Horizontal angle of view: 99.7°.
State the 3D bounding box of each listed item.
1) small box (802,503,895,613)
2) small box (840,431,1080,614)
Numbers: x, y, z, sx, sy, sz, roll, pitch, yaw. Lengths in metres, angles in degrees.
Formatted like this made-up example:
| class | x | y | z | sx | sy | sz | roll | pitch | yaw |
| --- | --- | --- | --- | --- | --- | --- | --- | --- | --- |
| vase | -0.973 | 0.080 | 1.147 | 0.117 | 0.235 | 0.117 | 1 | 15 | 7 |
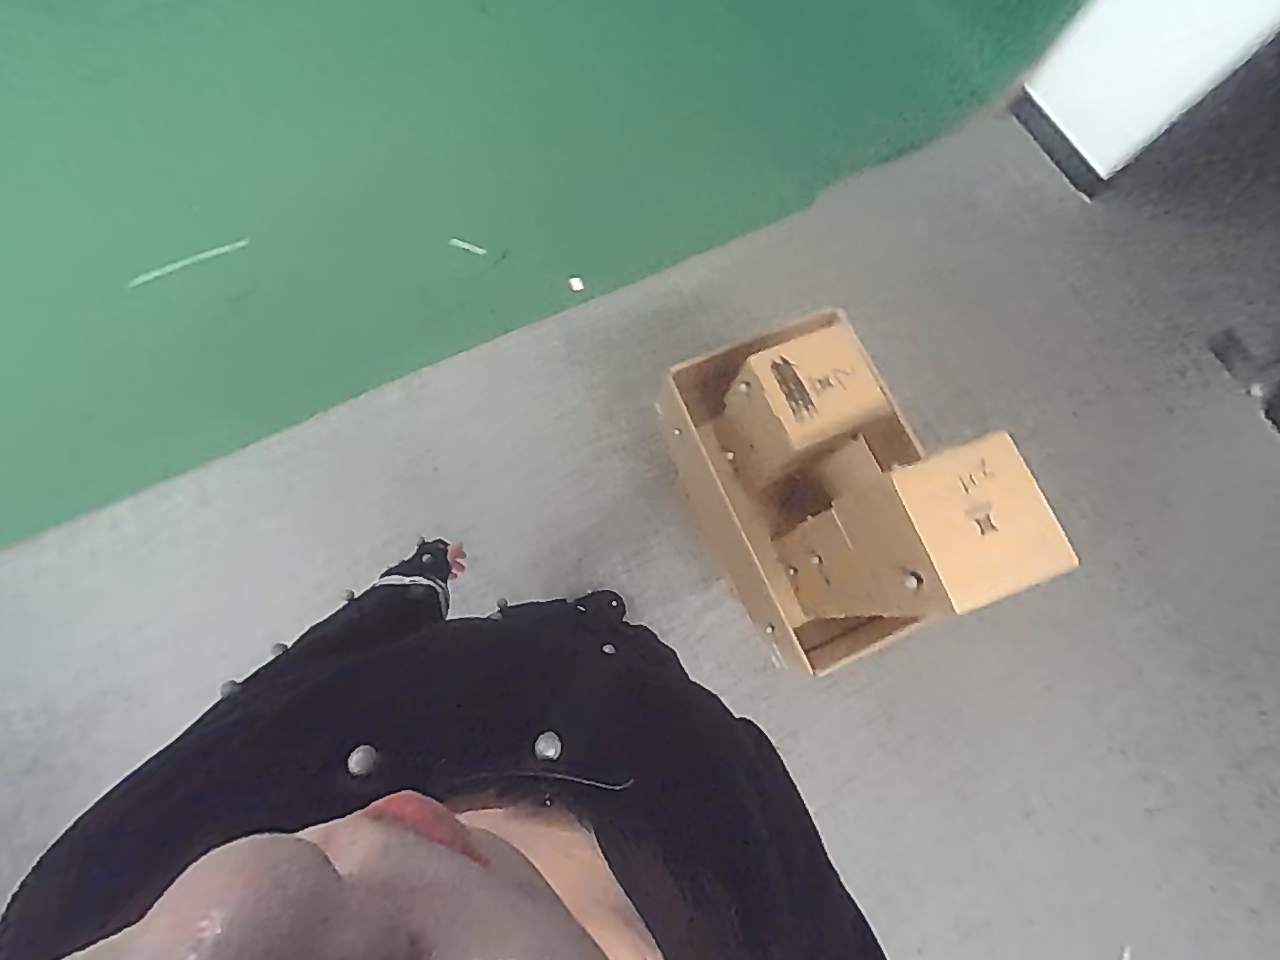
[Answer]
| class | x | y | z | sx | sy | sz | roll | pitch | yaw |
| --- | --- | --- | --- | --- | --- | --- | --- | --- | --- |
| small box | 0.387 | 0.101 | 0.856 | 0.179 | 0.176 | 0.168 | -20 | 77 | -6 |
| small box | 0.390 | 0.063 | 0.695 | 0.168 | 0.176 | 0.179 | -18 | 76 | -7 |
